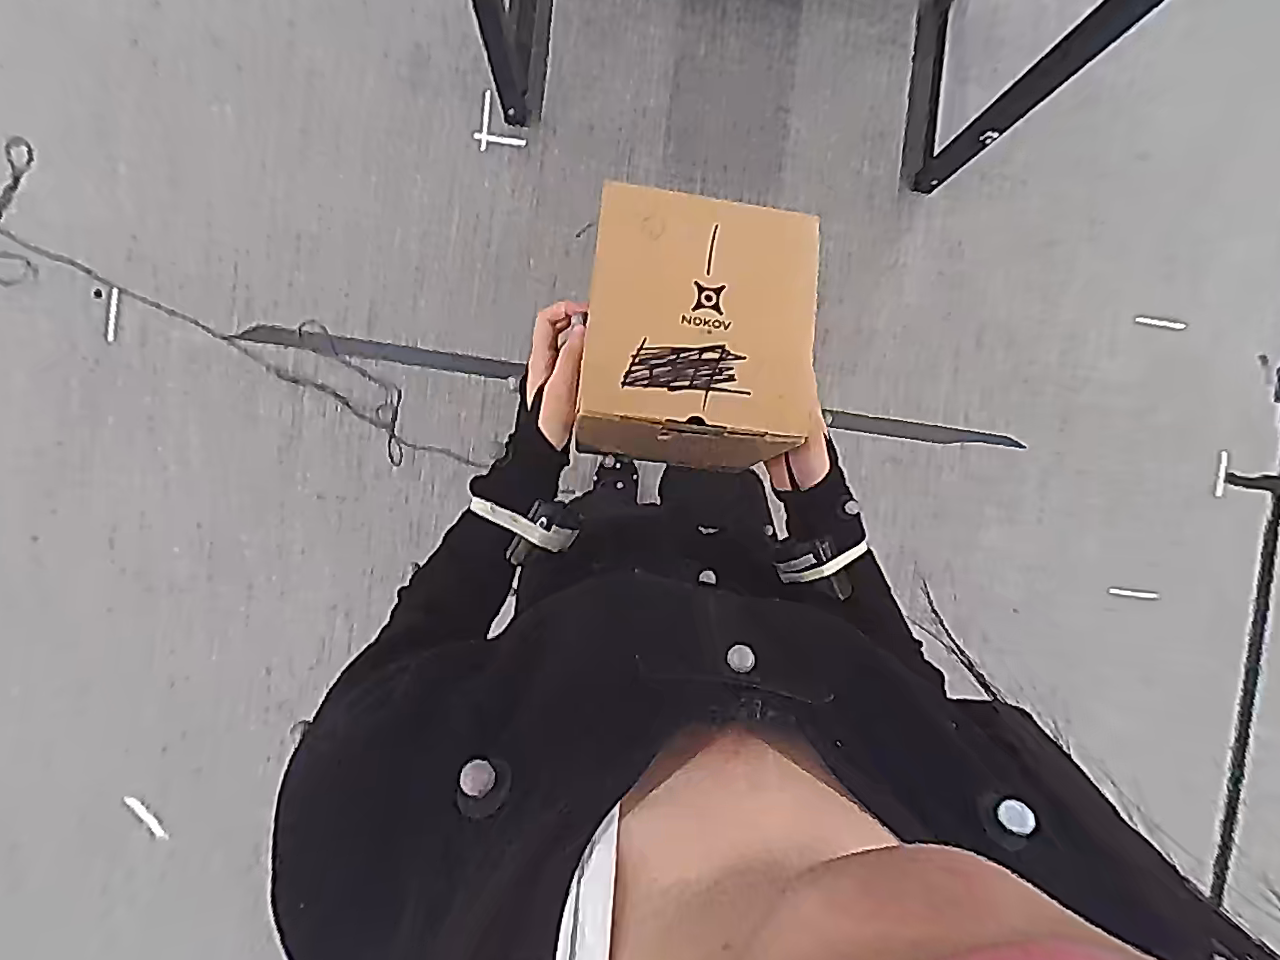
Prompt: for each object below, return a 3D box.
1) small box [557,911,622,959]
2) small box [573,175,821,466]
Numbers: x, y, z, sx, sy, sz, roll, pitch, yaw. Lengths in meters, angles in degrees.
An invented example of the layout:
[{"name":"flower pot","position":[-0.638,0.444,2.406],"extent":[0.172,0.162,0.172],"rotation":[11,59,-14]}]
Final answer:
[{"name":"small box","position":[-0.140,1.326,1.462],"extent":[0.168,0.176,0.179],"rotation":[10,91,-5]},{"name":"small box","position":[0.036,-0.114,0.462],"extent":[0.168,0.176,0.179],"rotation":[7,81,-7]}]
